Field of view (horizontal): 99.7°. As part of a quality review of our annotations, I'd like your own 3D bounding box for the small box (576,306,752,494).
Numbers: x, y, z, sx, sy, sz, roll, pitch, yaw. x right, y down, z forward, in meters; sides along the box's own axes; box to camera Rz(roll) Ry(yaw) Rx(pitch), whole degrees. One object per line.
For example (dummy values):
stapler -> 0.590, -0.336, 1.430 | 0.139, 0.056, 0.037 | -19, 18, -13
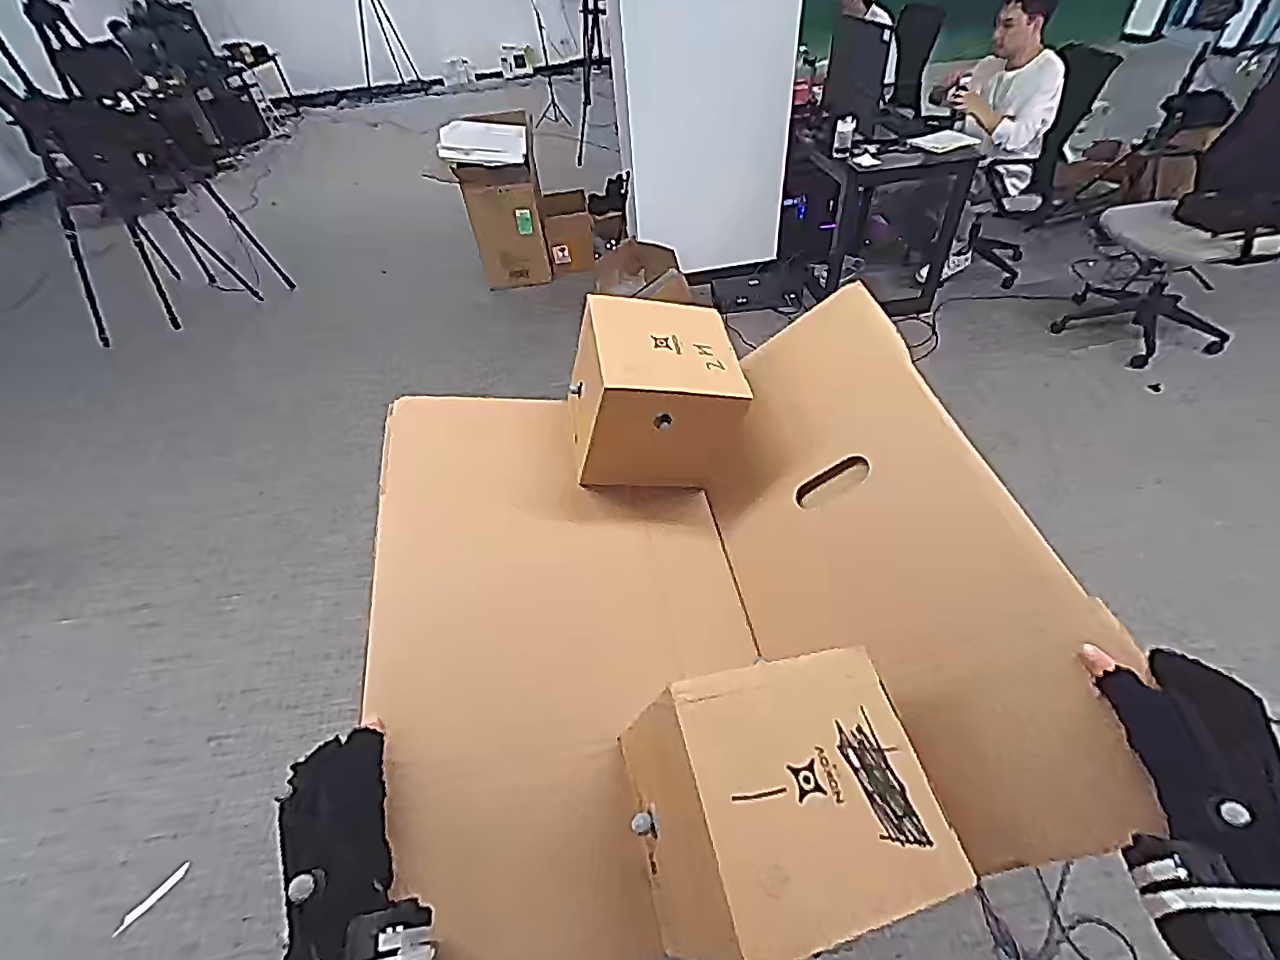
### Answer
small box -> 0.015, -0.095, 0.691 | 0.179, 0.176, 0.168 | 2, 52, -16
